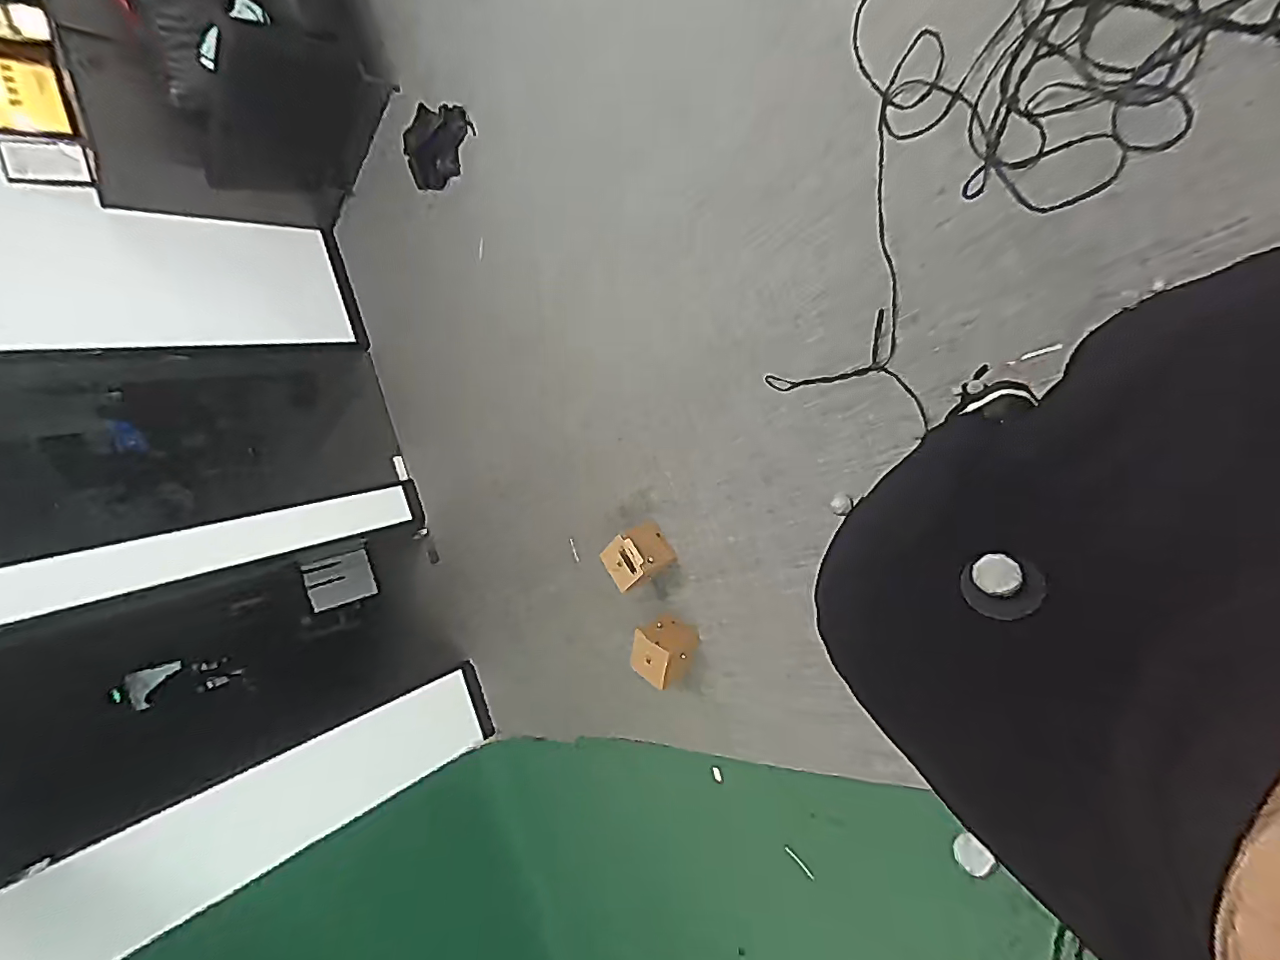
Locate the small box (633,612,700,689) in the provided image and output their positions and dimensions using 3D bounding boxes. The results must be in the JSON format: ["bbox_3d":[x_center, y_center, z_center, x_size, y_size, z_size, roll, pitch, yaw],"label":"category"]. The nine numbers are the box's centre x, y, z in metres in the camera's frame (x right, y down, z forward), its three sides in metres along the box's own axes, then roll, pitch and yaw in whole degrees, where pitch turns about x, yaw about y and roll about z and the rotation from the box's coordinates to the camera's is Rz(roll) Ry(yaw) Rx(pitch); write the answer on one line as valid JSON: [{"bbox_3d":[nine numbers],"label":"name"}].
[{"bbox_3d":[0.100,0.610,1.962,0.168,0.176,0.179,27,121,39],"label":"small box"}]
